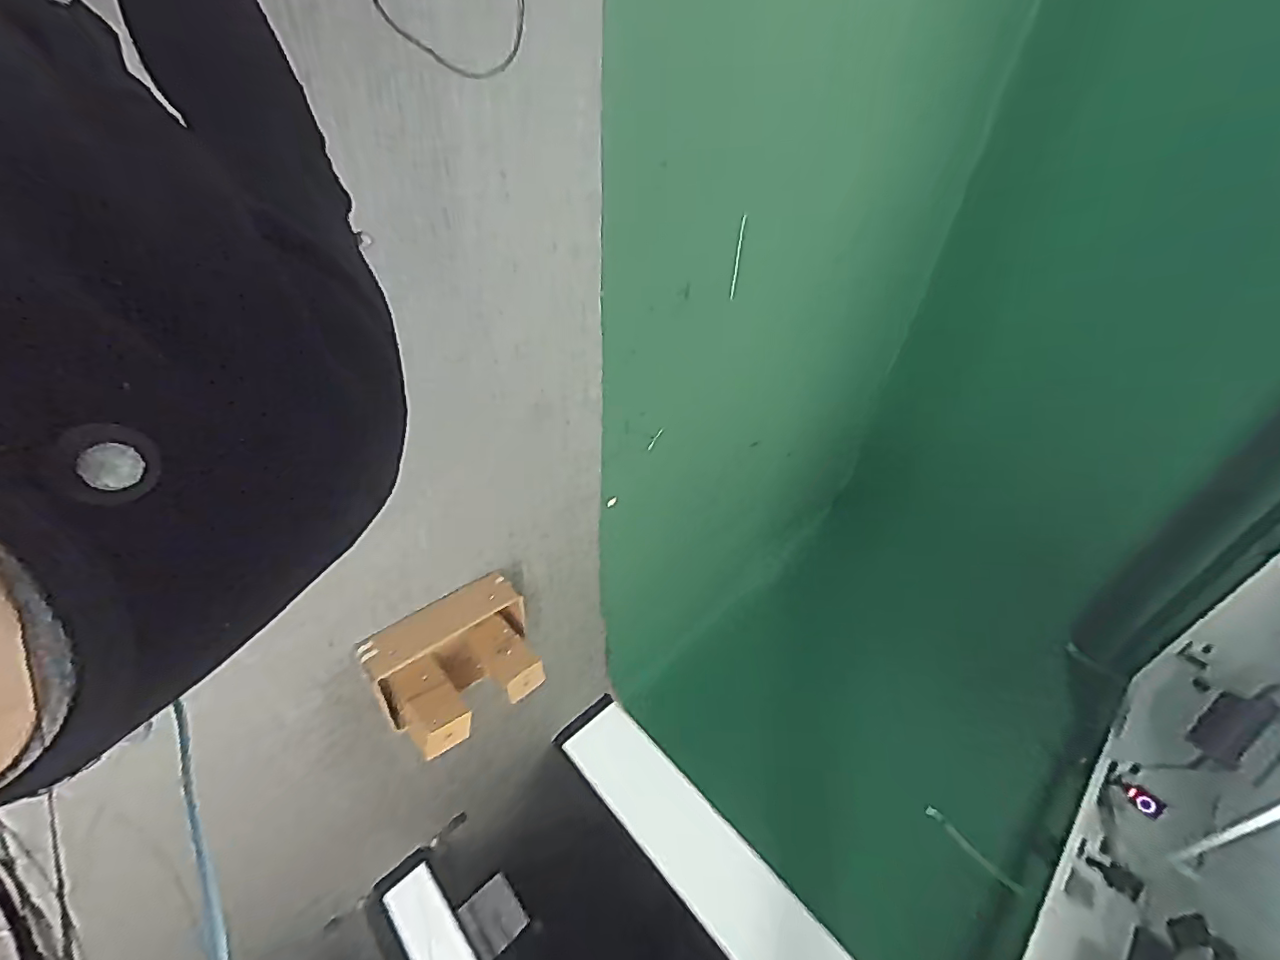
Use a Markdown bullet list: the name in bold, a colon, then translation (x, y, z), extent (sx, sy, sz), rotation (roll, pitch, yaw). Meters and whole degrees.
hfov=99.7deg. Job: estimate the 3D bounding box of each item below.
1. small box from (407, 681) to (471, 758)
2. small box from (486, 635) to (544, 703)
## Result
- **small box**: translation (-0.773, 0.914, 2.081), extent (0.179, 0.176, 0.168), rotation (-18, 132, -42)
- **small box**: translation (-0.524, 0.789, 2.271), extent (0.168, 0.176, 0.179), rotation (-31, 140, -32)
